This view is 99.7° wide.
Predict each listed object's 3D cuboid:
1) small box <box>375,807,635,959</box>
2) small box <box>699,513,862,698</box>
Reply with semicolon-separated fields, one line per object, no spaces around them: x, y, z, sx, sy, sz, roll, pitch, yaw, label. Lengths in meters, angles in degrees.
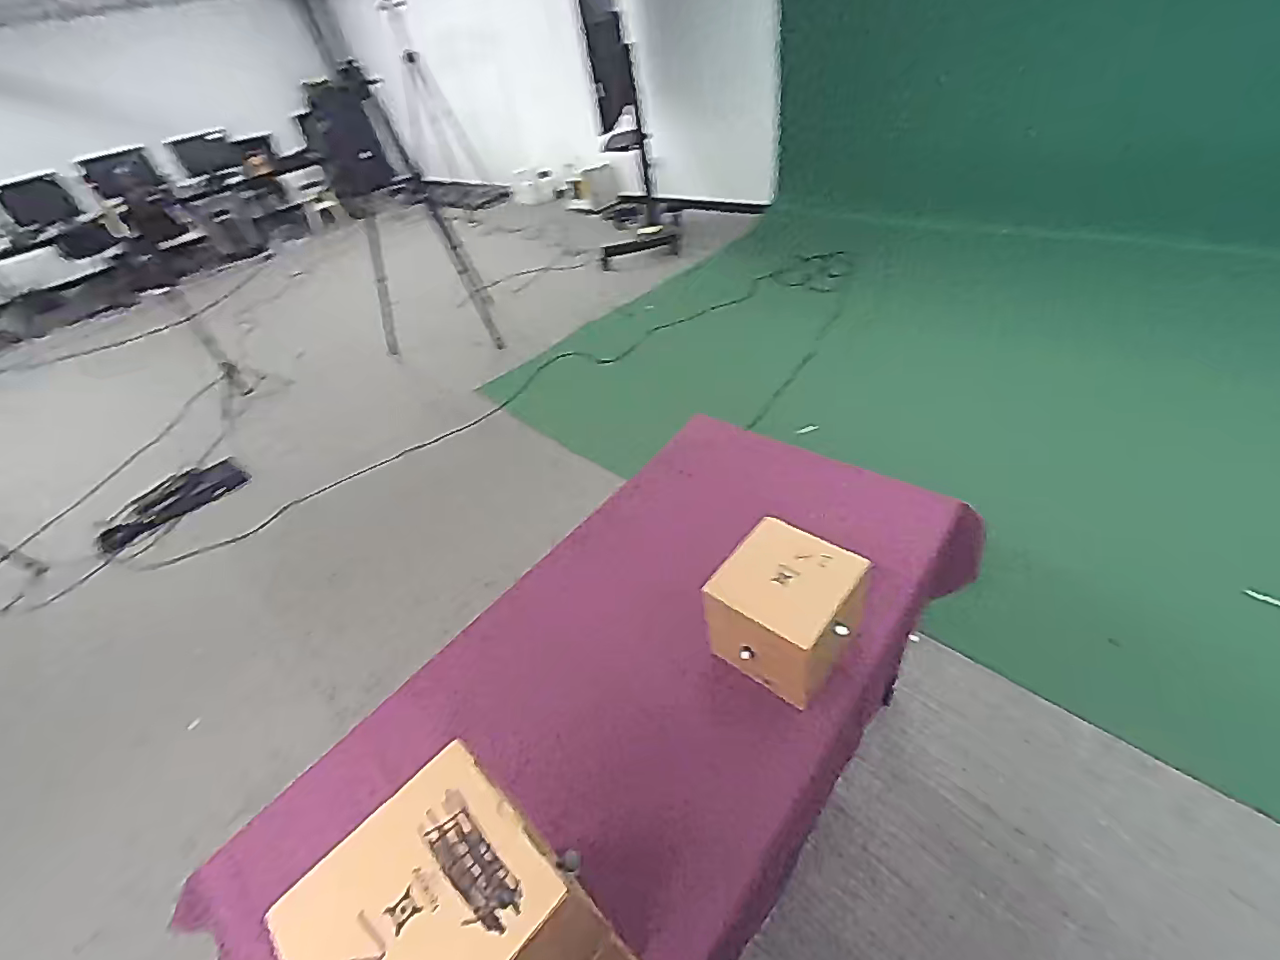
-0.128;0.494;0.559;0.179;0.176;0.168;25;53;34;small box
0.212;0.188;0.812;0.168;0.176;0.179;25;54;35;small box
